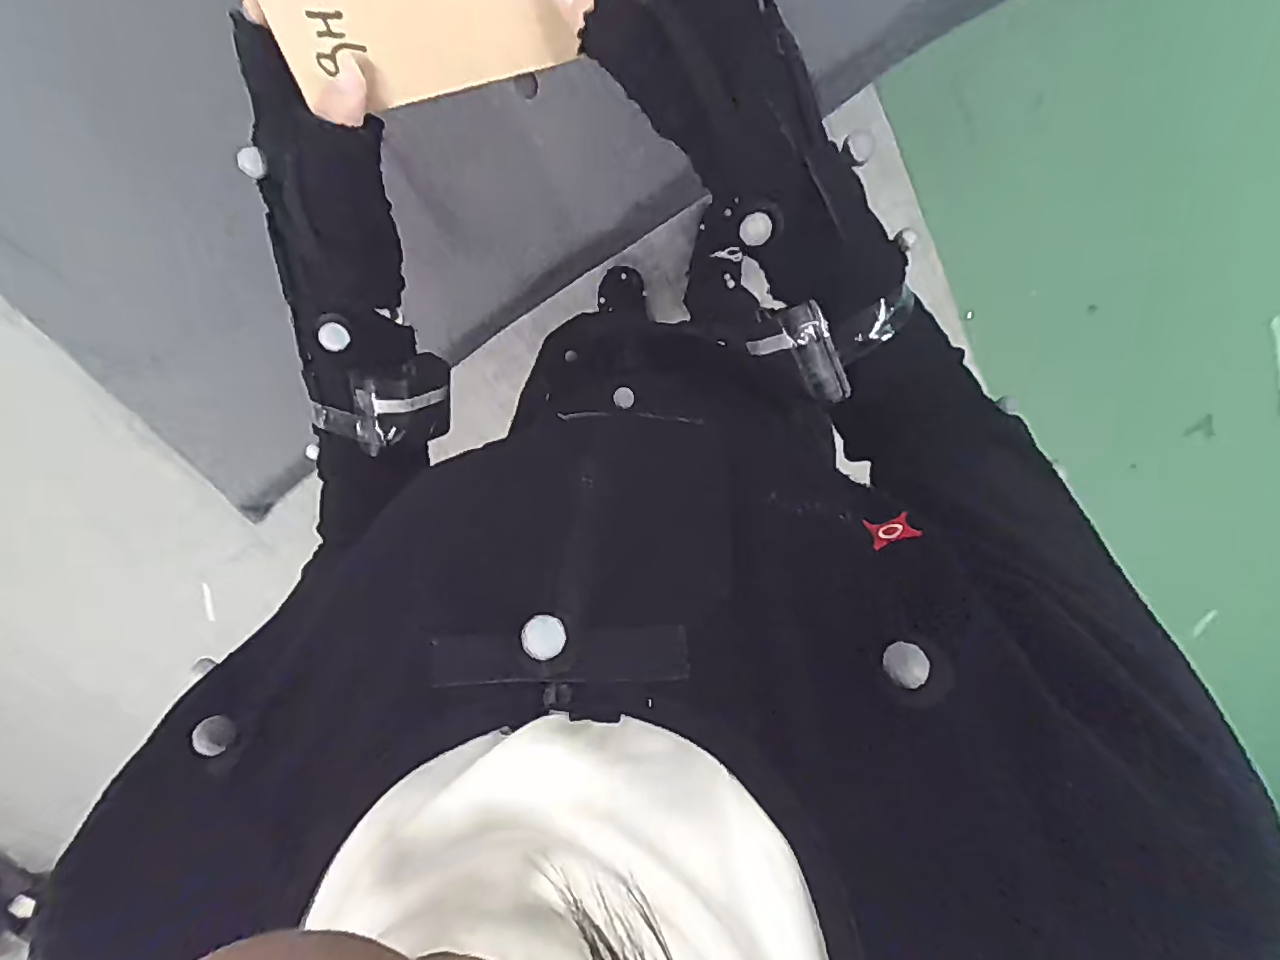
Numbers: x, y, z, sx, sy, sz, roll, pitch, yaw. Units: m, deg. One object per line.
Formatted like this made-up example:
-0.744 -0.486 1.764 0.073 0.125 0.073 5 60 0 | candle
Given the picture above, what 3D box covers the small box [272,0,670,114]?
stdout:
-0.088 -0.305 0.269 0.179 0.176 0.168 -9 129 5 | small box
